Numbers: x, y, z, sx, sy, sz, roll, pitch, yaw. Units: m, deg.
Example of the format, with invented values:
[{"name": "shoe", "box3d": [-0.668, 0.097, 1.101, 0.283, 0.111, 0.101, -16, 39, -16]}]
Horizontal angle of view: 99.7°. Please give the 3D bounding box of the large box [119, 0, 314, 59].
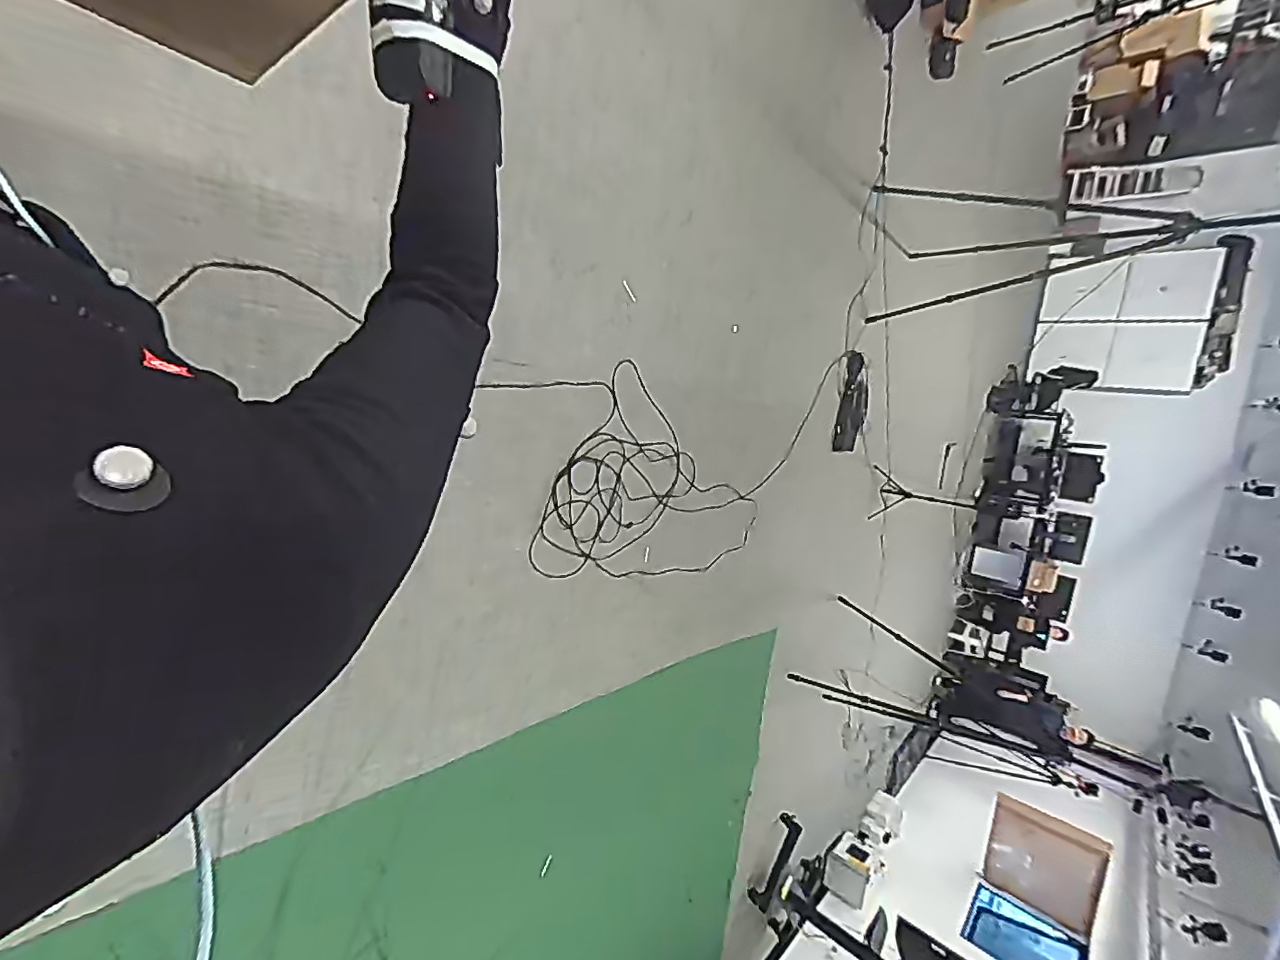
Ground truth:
[{"name": "large box", "box3d": [-0.373, -0.507, 0.254, 0.408, 0.320, 0.320, 0, 106, -48]}]
